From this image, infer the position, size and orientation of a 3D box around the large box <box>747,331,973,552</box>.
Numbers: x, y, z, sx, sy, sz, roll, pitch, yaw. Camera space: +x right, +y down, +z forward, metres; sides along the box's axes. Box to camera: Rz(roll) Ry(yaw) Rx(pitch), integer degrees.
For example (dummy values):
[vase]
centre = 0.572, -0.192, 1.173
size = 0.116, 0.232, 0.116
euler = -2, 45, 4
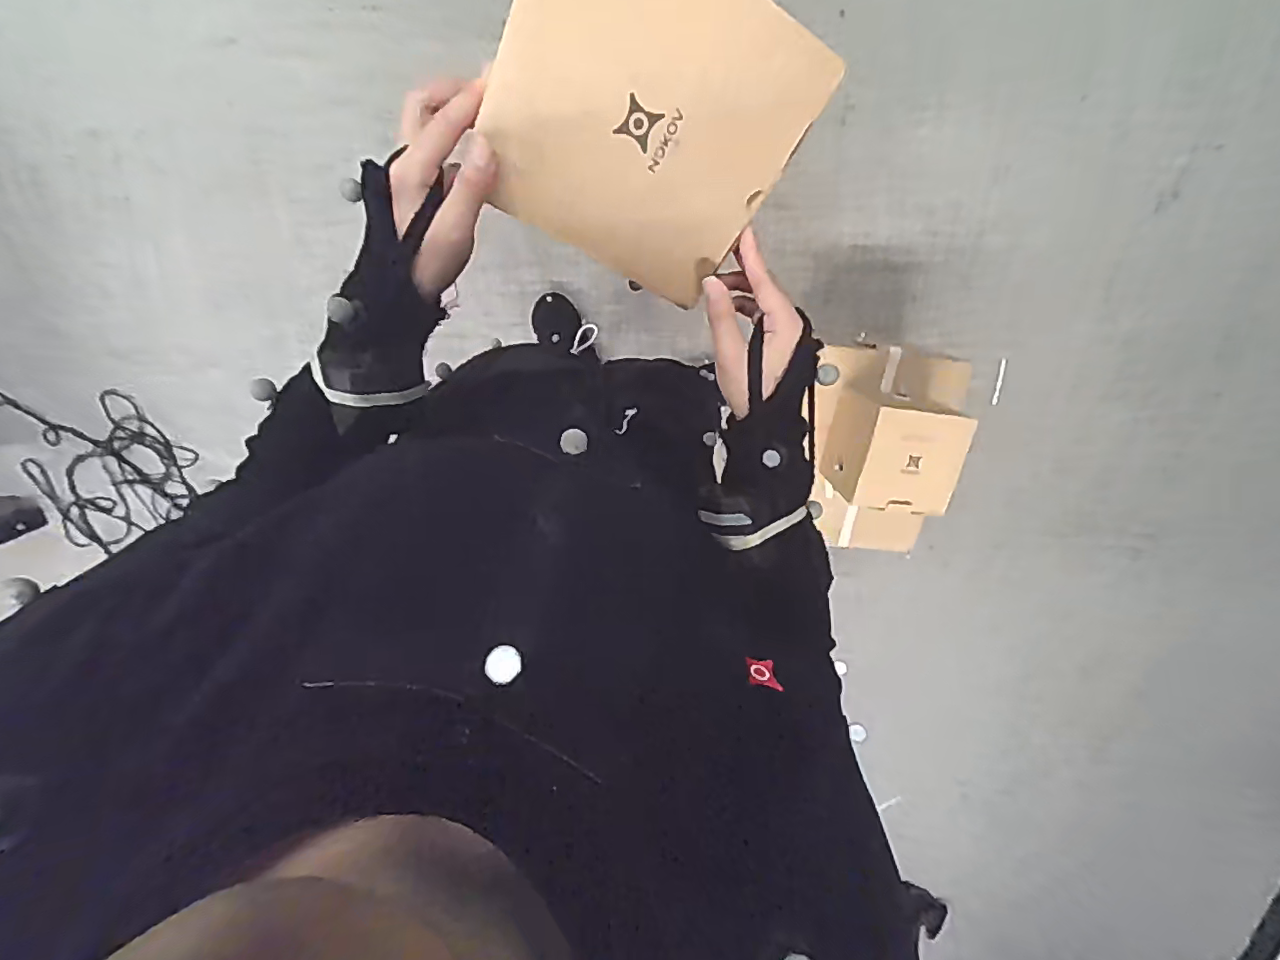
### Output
[large box]
centre = 0.445, -0.099, 1.197
size = 0.320, 0.320, 0.408
euler = 6, 112, -2

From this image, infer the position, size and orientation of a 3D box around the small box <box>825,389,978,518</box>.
[small box]
centre = 0.445, -0.052, 0.955
size = 0.168, 0.176, 0.179
euler = 6, 110, -4
